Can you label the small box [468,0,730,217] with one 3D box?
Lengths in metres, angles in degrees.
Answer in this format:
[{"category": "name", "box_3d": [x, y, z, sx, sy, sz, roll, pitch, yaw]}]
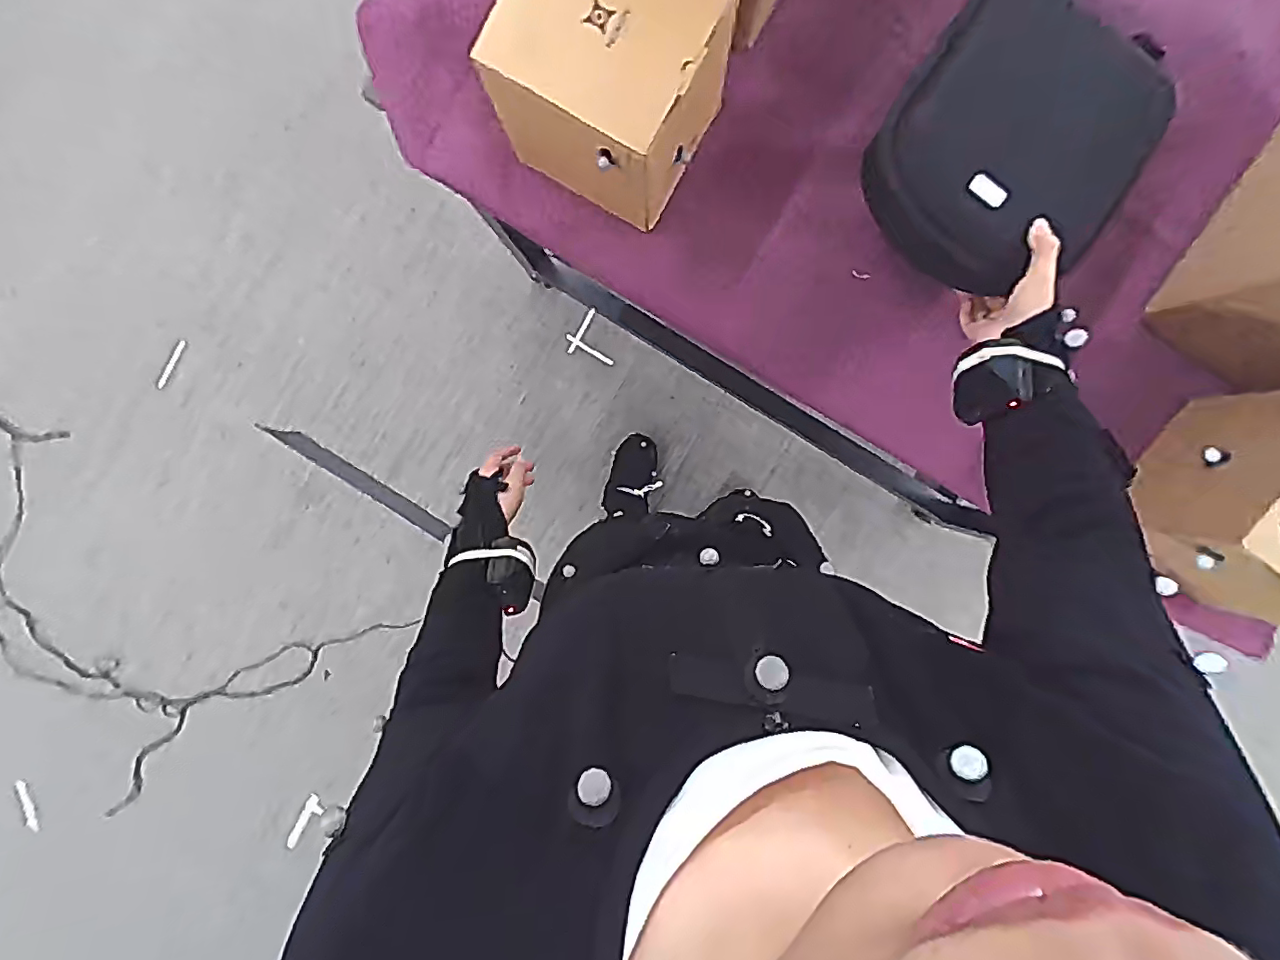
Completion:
[{"category": "small box", "box_3d": [-0.033, -0.398, 0.537, 0.179, 0.176, 0.168, 28, 94, -2]}]
